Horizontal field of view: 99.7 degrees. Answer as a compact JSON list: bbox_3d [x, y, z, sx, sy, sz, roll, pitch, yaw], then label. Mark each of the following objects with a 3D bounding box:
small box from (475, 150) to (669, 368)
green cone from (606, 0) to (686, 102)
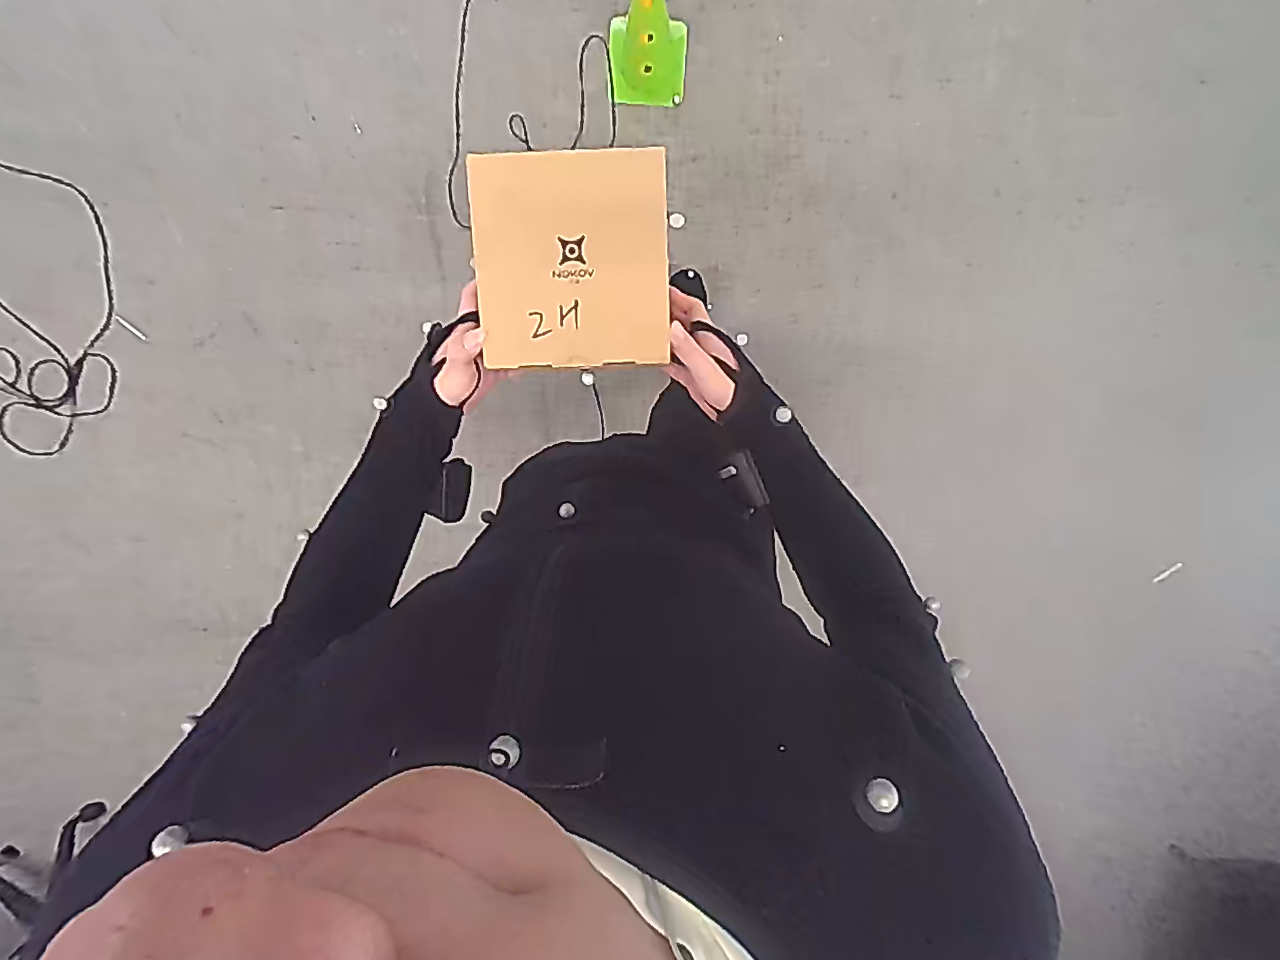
[{"bbox_3d":[-0.058,-0.205,0.547,0.168,0.176,0.179,-1,101,0],"label":"small box"},{"bbox_3d":[0.013,-1.066,1.236,0.202,0.368,0.200,4,100,0],"label":"green cone"}]
